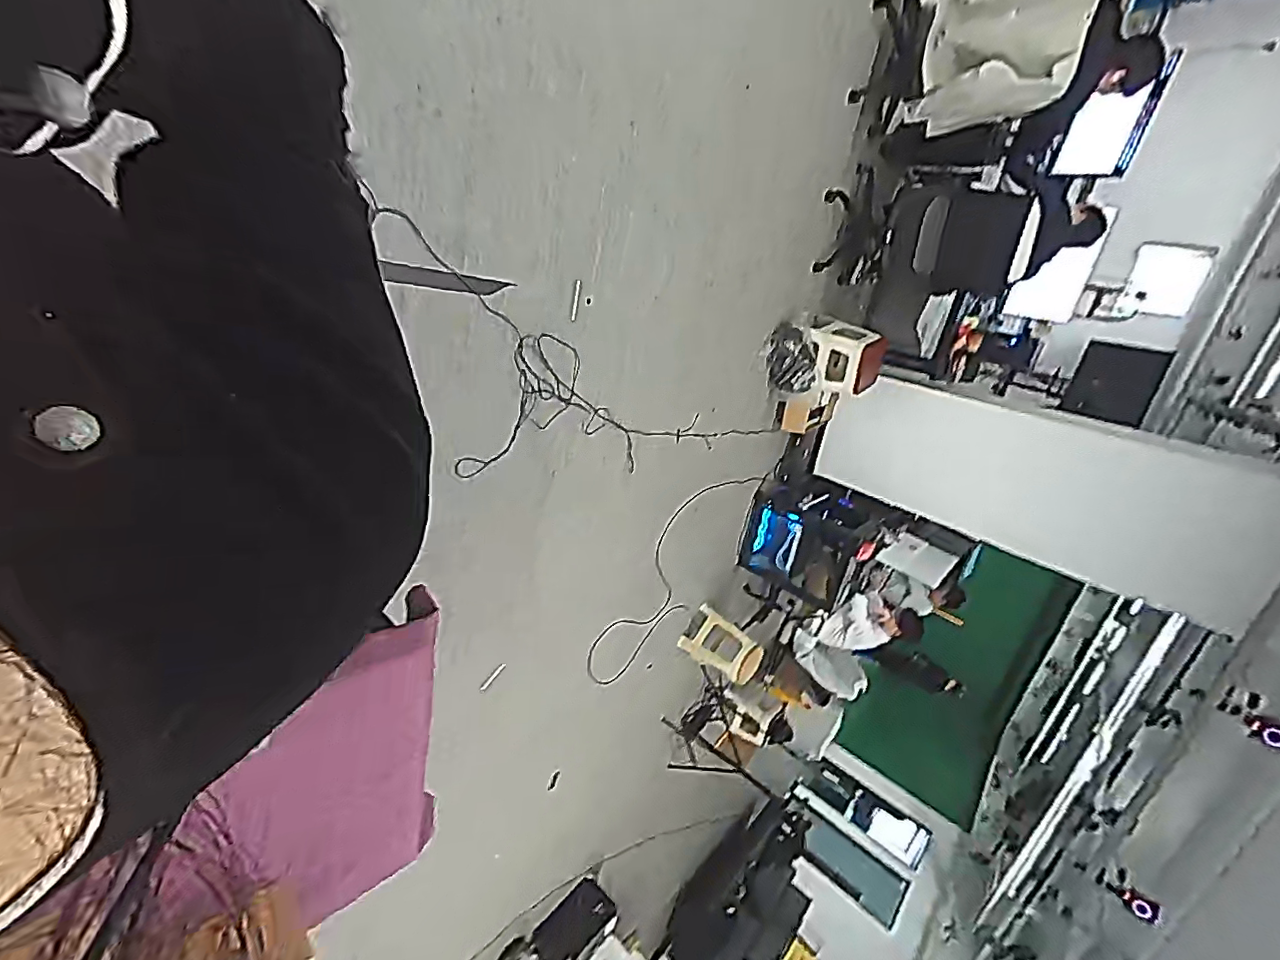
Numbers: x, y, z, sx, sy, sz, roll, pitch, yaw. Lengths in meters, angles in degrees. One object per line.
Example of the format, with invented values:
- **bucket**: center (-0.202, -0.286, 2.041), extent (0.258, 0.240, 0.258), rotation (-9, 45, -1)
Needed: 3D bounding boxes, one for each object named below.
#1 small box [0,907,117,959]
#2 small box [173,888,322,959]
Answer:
- **small box**: center (-0.762, 0.693, 0.676), extent (0.168, 0.176, 0.179), rotation (-12, 121, -48)
- **small box**: center (-0.651, 0.839, 0.904), extent (0.168, 0.176, 0.179), rotation (-13, 119, -47)
